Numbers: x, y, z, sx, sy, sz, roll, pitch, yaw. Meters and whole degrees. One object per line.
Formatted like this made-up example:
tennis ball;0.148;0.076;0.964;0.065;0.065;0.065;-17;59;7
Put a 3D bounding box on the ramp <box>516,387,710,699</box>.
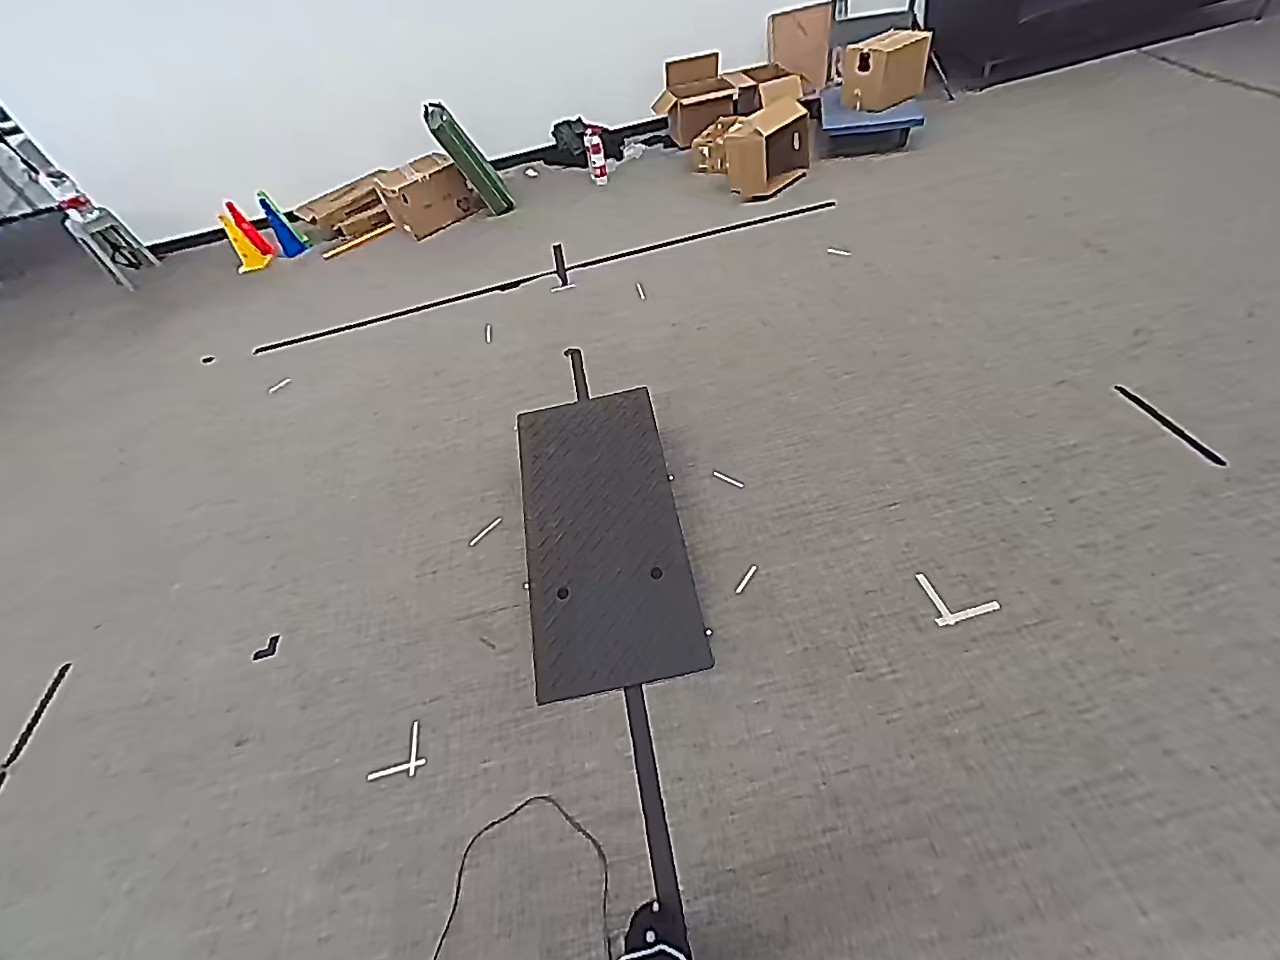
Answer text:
ramp;-0.127;0.131;1.718;0.509;0.206;0.991;-13;49;-1
